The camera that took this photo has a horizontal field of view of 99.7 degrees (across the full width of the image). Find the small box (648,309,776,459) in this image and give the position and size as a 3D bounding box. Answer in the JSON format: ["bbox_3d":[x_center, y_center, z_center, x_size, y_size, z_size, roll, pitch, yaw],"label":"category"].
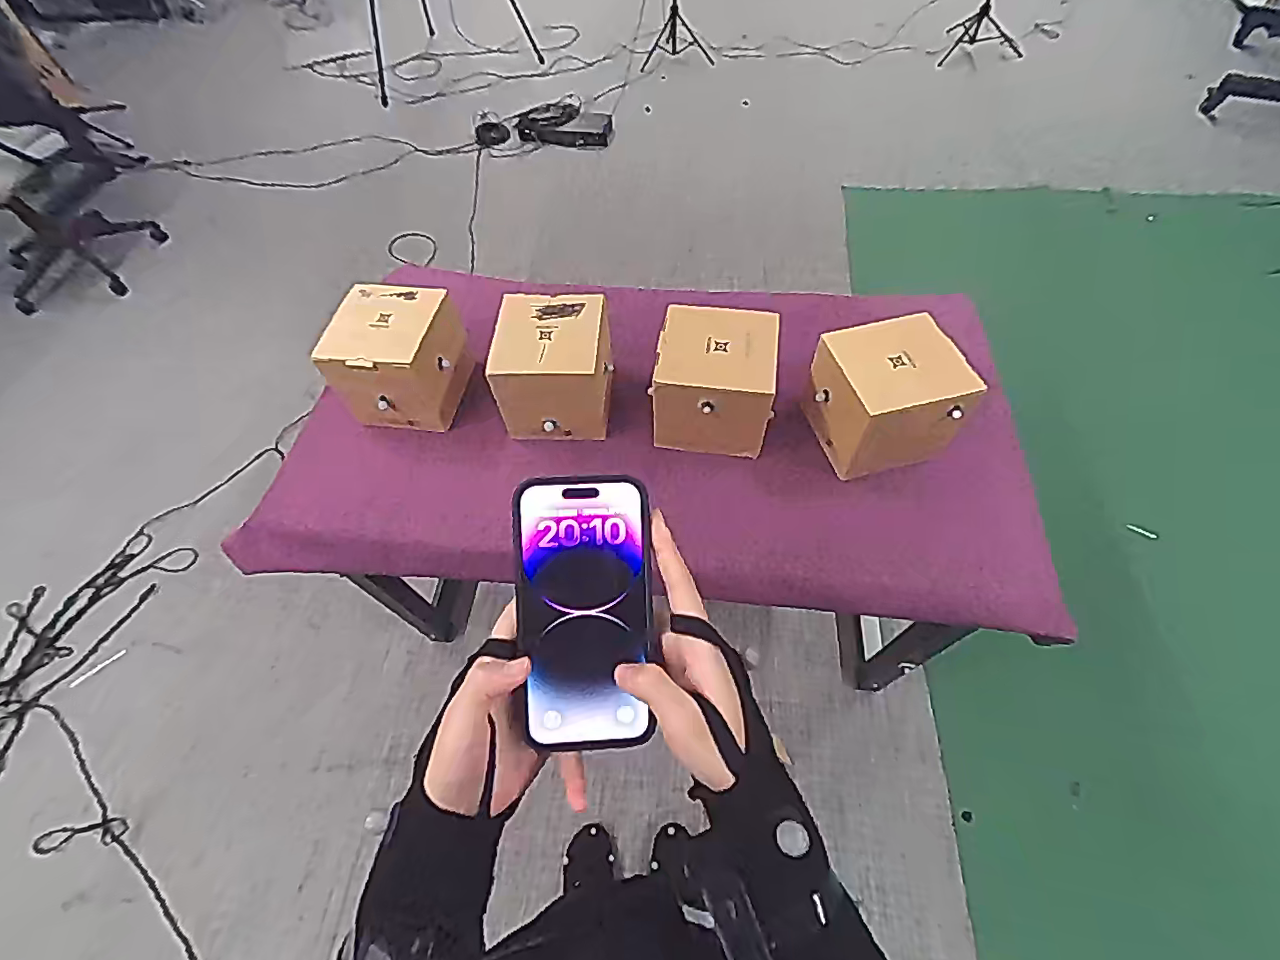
[{"bbox_3d":[0.114,-0.150,0.872,0.179,0.176,0.168,7,59,7],"label":"small box"}]

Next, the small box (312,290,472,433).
[{"bbox_3d":[-0.408,-0.199,0.928,0.168,0.176,0.179,5,59,6],"label":"small box"}]

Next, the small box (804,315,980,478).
[{"bbox_3d":[0.370,-0.124,0.840,0.179,0.176,0.168,-13,57,-5],"label":"small box"}]

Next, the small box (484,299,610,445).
[{"bbox_3d":[-0.142,-0.178,0.902,0.168,0.176,0.179,1,58,4],"label":"small box"}]
